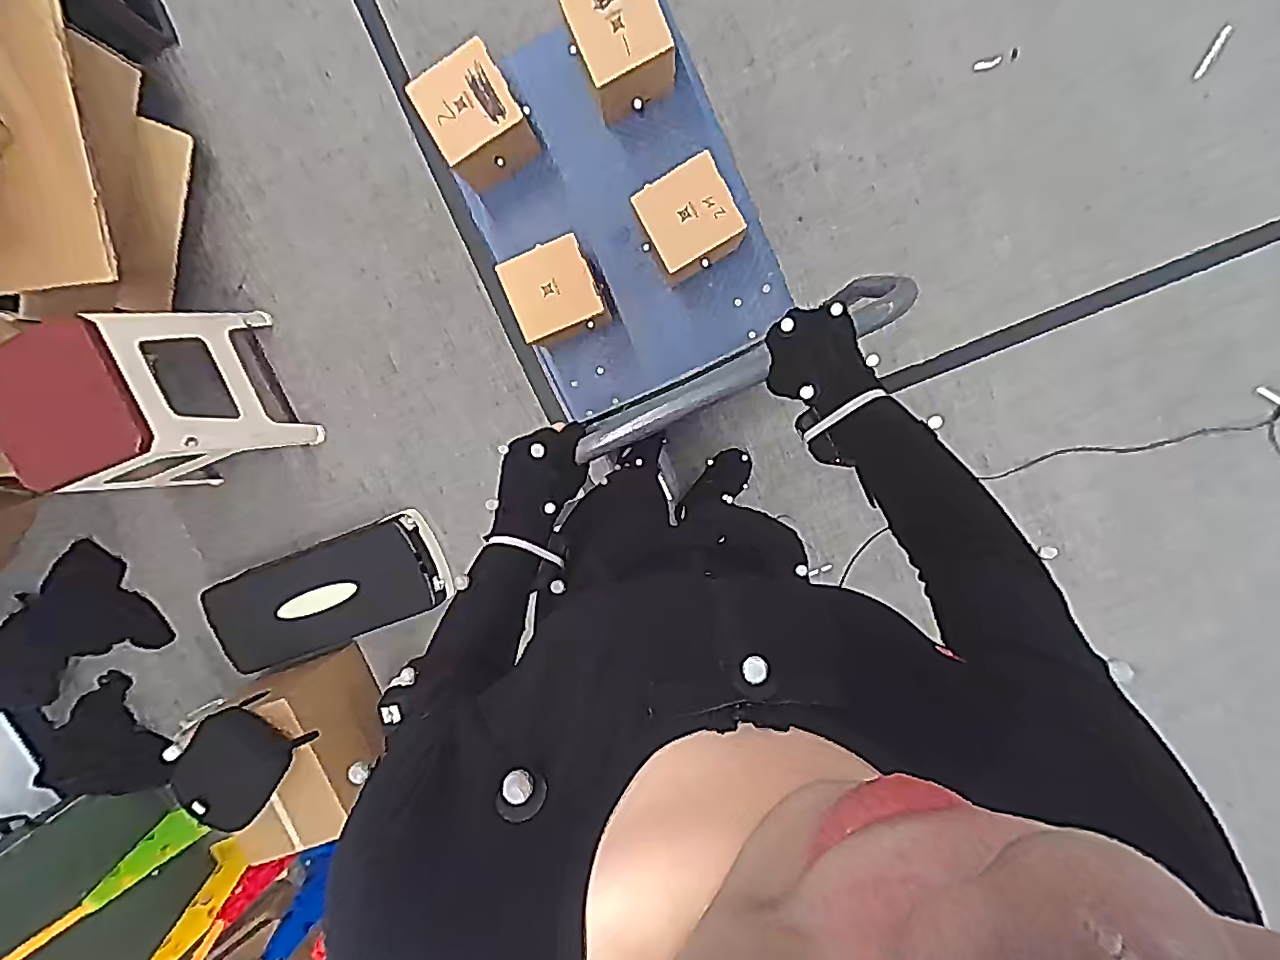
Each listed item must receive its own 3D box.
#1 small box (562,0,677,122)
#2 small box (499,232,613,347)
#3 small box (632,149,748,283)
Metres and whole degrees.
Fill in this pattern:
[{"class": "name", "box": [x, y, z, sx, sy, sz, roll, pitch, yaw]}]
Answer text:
[{"class": "small box", "box": [-0.037, -0.863, 1.071, 0.168, 0.176, 0.179, -24, 100, 7]}, {"class": "small box", "box": [-0.172, -0.398, 1.165, 0.179, 0.176, 0.168, -22, 98, 5]}, {"class": "small box", "box": [0.103, -0.533, 1.125, 0.179, 0.176, 0.168, -29, 98, 8]}]
